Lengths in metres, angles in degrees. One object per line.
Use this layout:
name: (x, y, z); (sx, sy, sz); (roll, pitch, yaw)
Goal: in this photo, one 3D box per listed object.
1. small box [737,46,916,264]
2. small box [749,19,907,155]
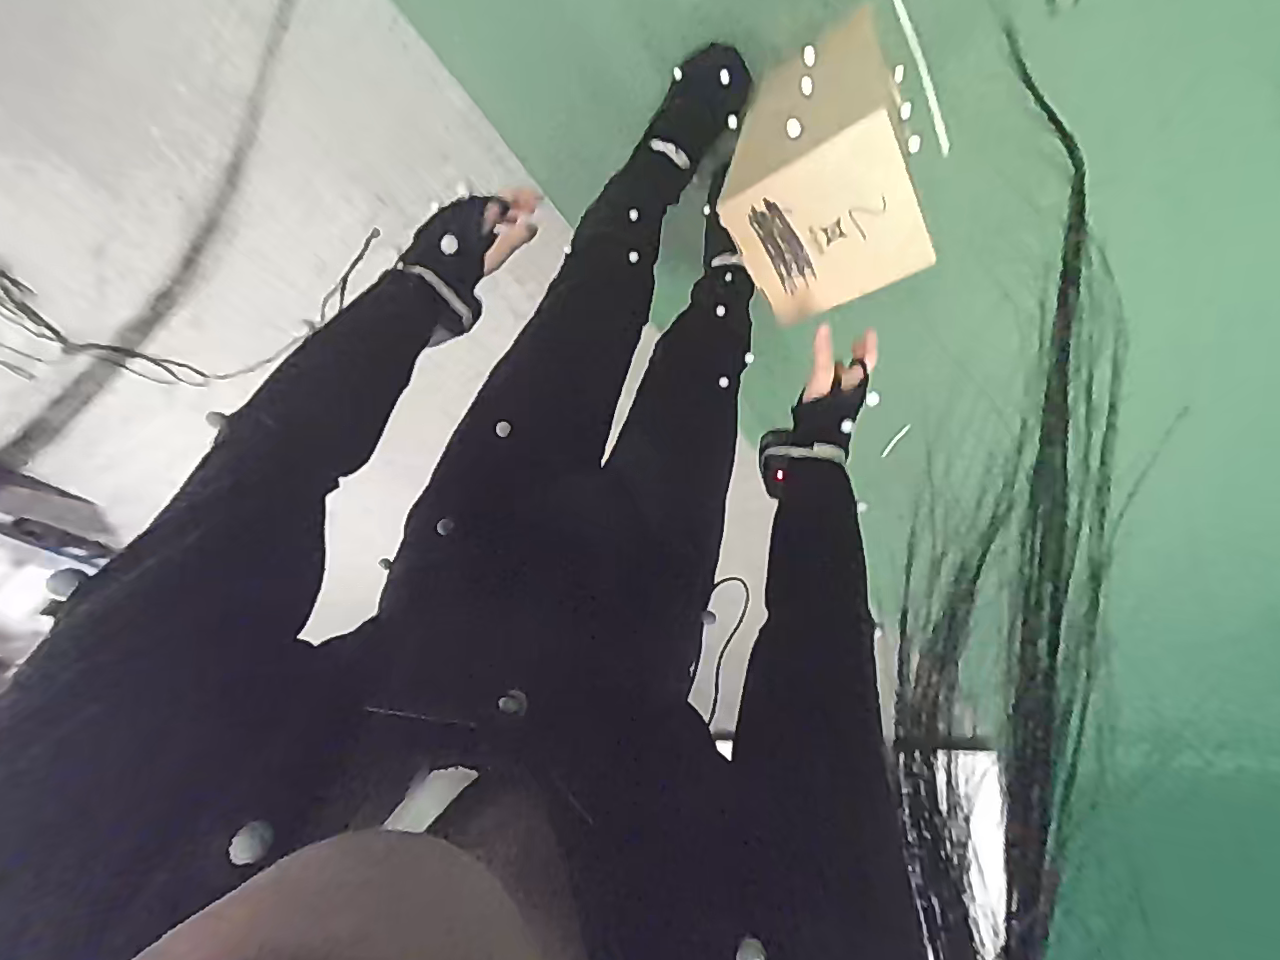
small box: (0.251, -0.436, 0.730); (0.179, 0.176, 0.168); (-15, 130, 34)
small box: (0.292, -0.556, 0.836); (0.179, 0.176, 0.168); (-18, 129, 35)
